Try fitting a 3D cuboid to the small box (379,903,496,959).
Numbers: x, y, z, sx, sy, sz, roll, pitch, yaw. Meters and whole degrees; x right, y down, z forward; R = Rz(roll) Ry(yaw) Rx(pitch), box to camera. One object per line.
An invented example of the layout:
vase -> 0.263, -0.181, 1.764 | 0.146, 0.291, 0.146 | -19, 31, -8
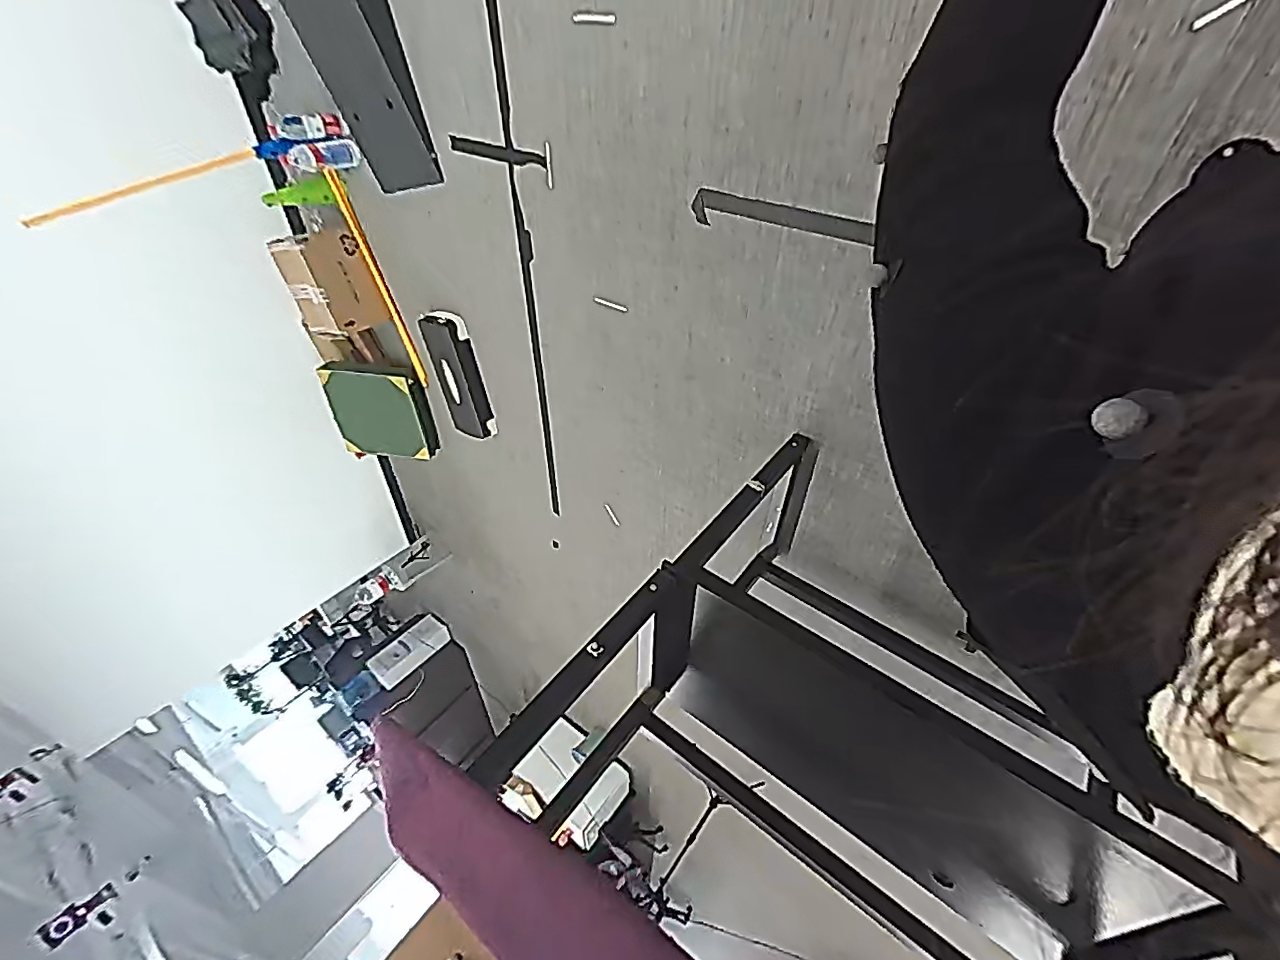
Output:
small box -> -0.317, 0.798, 0.838 | 0.179, 0.176, 0.168 | 32, 140, 23
